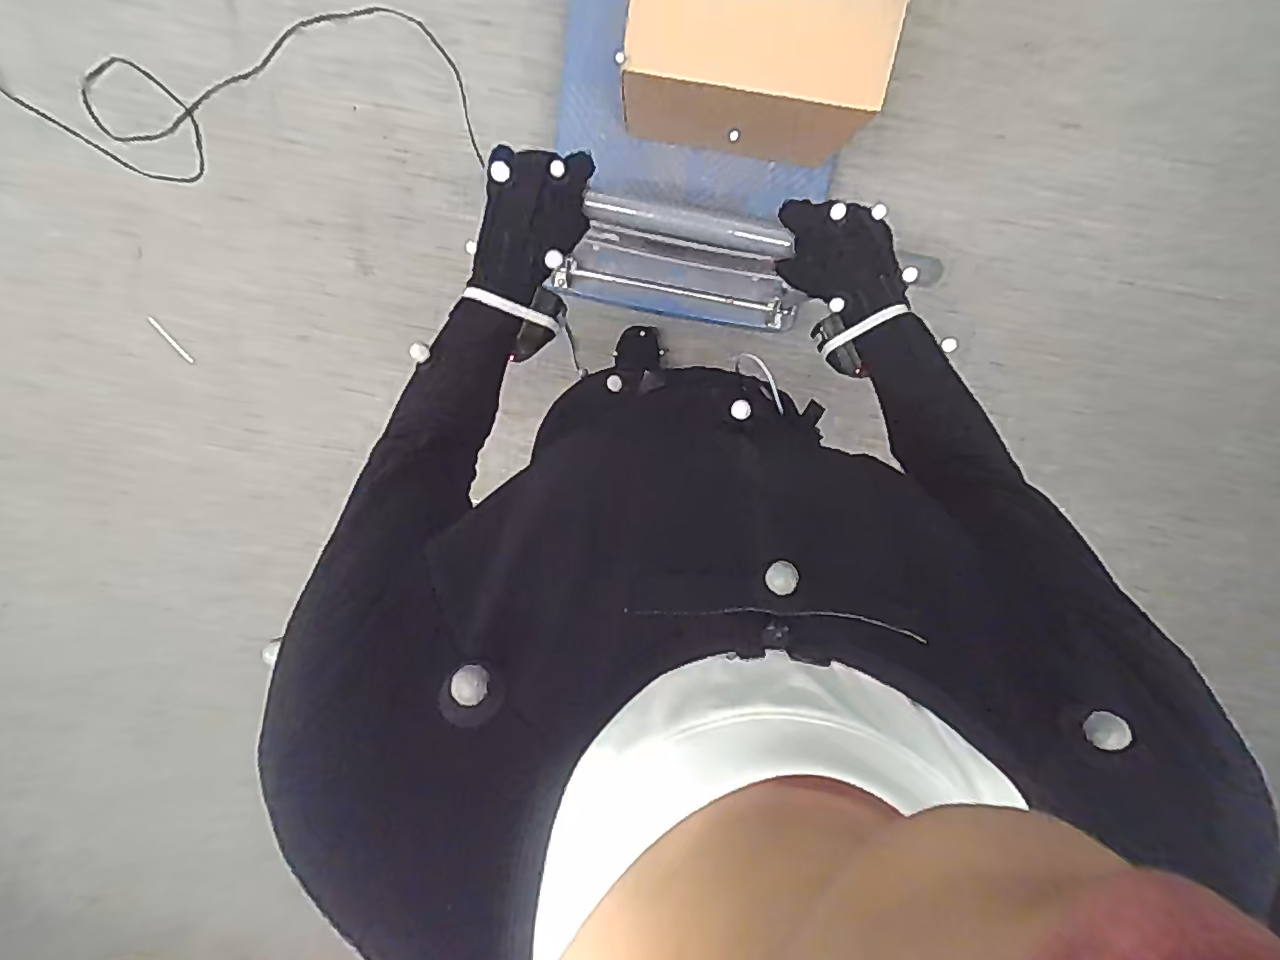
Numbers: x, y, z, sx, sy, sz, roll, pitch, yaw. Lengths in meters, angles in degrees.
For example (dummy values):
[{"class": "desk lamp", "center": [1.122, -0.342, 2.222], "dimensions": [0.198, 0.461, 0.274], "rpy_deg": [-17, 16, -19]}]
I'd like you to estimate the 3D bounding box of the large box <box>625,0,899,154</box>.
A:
[{"class": "large box", "center": [0.197, -0.796, 0.937], "dimensions": [0.408, 0.320, 0.320], "rpy_deg": [7, 106, -1]}]
